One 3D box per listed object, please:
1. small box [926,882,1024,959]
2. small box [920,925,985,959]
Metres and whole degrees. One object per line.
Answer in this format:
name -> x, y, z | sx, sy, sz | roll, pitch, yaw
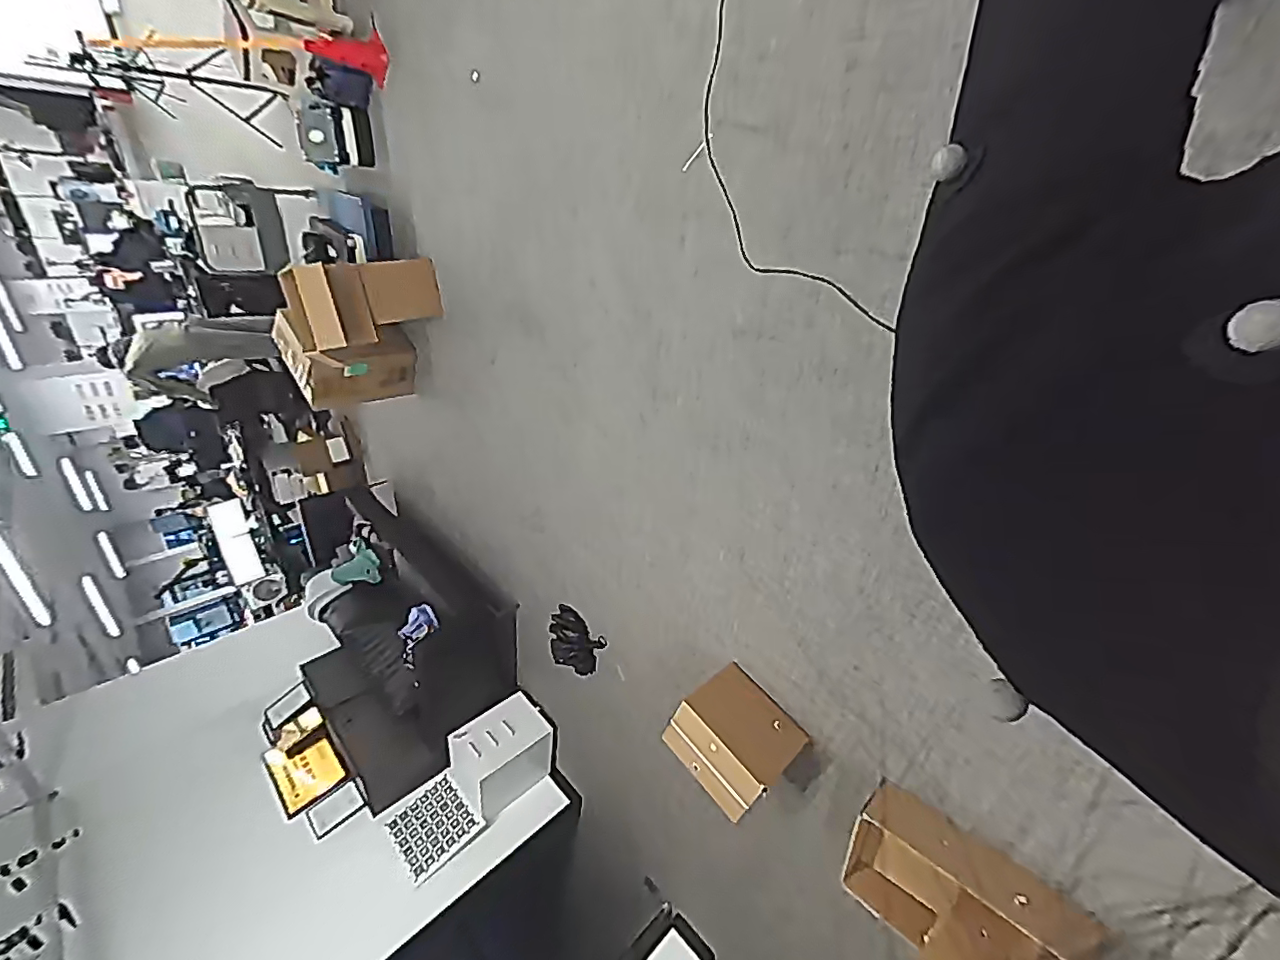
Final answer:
small box -> 1.003, 1.368, 1.614 | 0.179, 0.176, 0.168 | 33, 128, 38
small box -> 0.884, 1.415, 1.510 | 0.179, 0.176, 0.168 | 32, 128, 38
